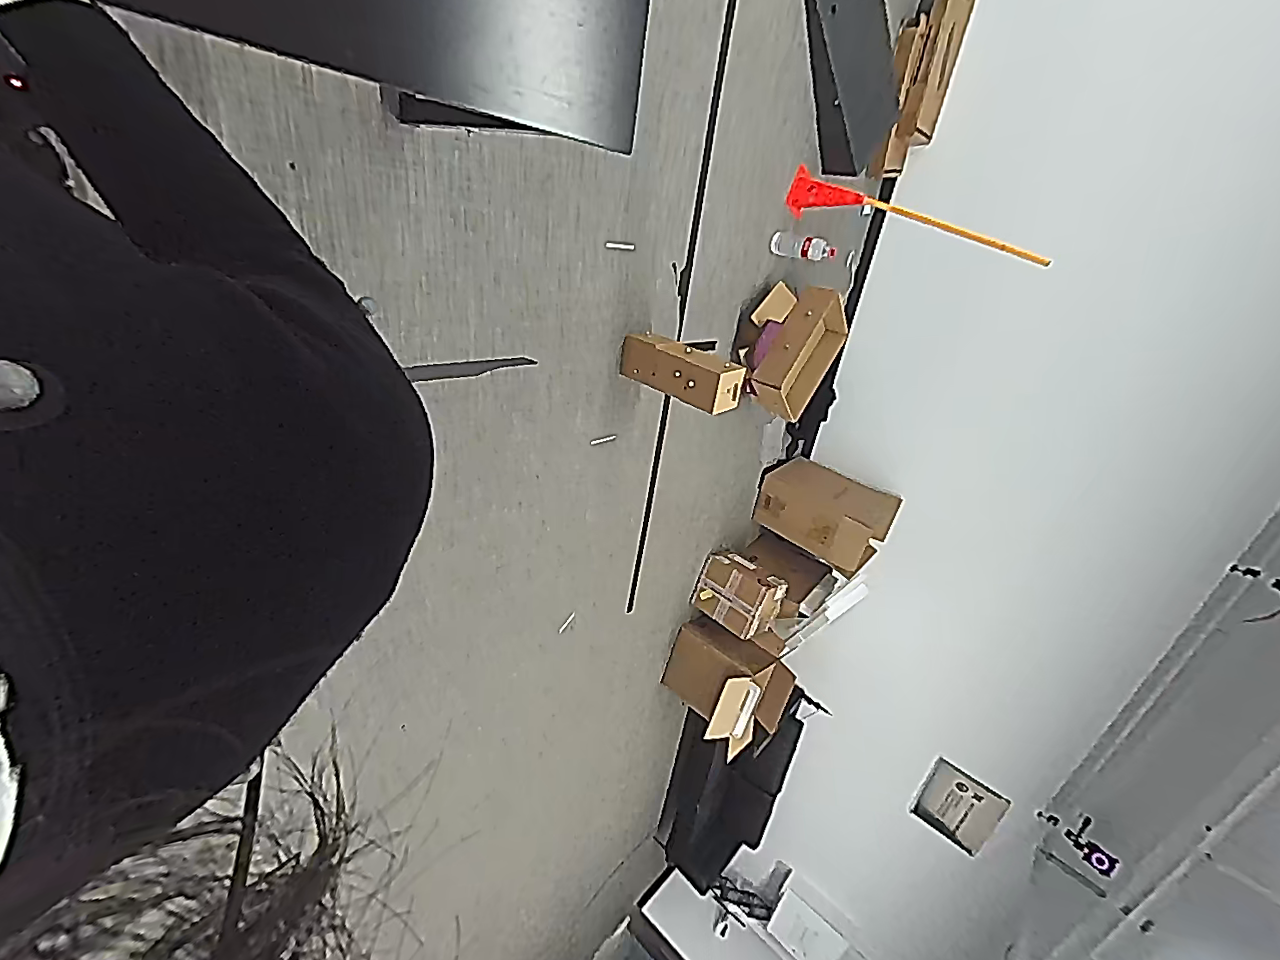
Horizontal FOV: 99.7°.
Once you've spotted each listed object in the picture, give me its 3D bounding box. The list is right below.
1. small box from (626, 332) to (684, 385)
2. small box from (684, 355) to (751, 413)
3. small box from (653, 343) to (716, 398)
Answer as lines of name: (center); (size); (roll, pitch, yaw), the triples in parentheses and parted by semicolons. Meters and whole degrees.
small box: (0.059, -0.514, 2.270); (0.168, 0.176, 0.179); (-21, 128, -45)
small box: (0.299, -0.377, 2.090); (0.179, 0.176, 0.168); (-22, 130, -43)
small box: (0.178, -0.447, 2.179); (0.179, 0.176, 0.168); (-23, 131, -44)
